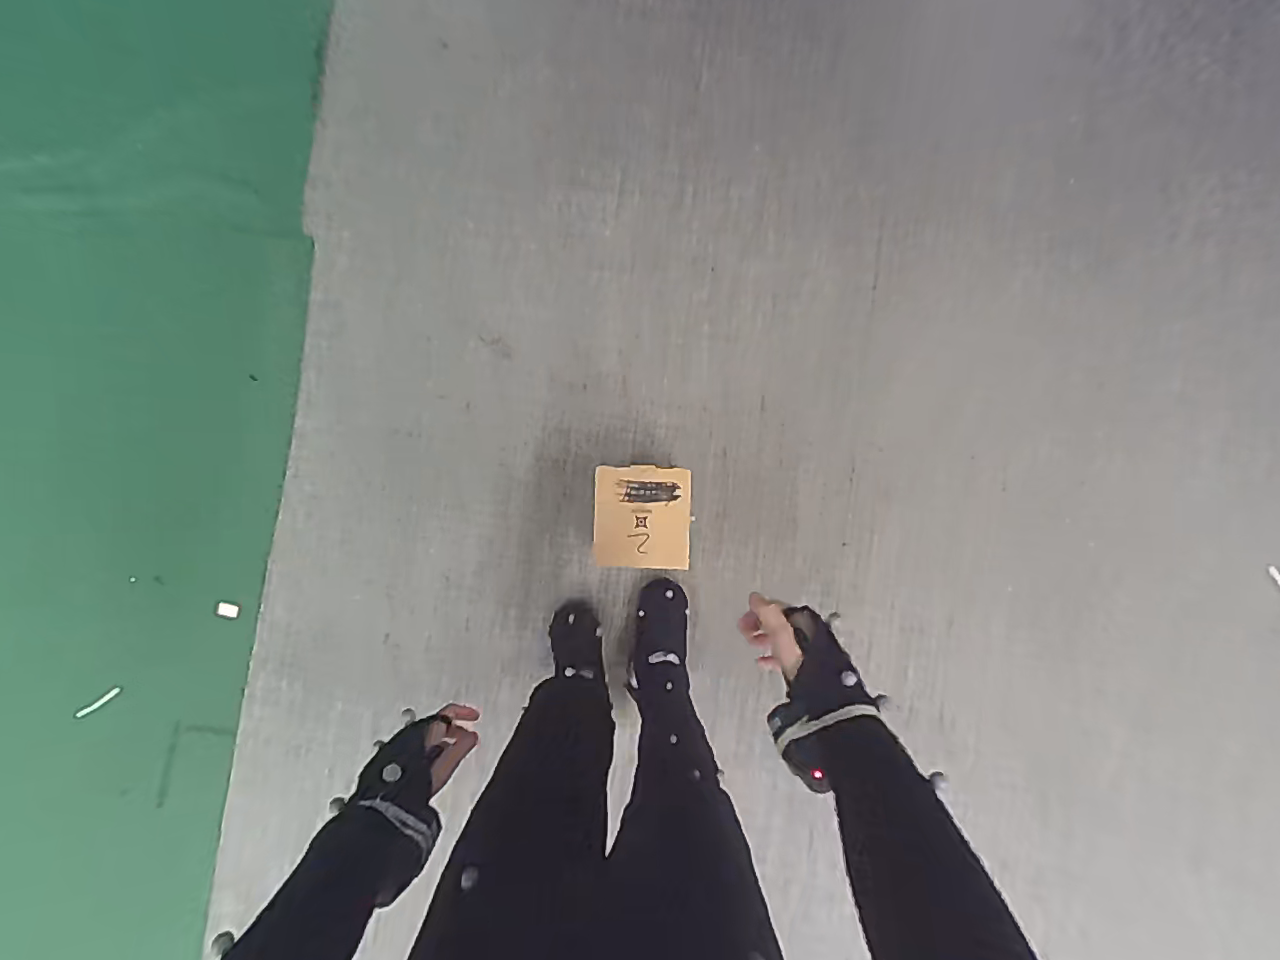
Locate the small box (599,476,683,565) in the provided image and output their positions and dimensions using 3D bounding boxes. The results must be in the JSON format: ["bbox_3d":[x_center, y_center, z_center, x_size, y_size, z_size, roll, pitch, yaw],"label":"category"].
[{"bbox_3d":[0.006,0.082,1.164,0.168,0.176,0.179,1,88,2],"label":"small box"}]
